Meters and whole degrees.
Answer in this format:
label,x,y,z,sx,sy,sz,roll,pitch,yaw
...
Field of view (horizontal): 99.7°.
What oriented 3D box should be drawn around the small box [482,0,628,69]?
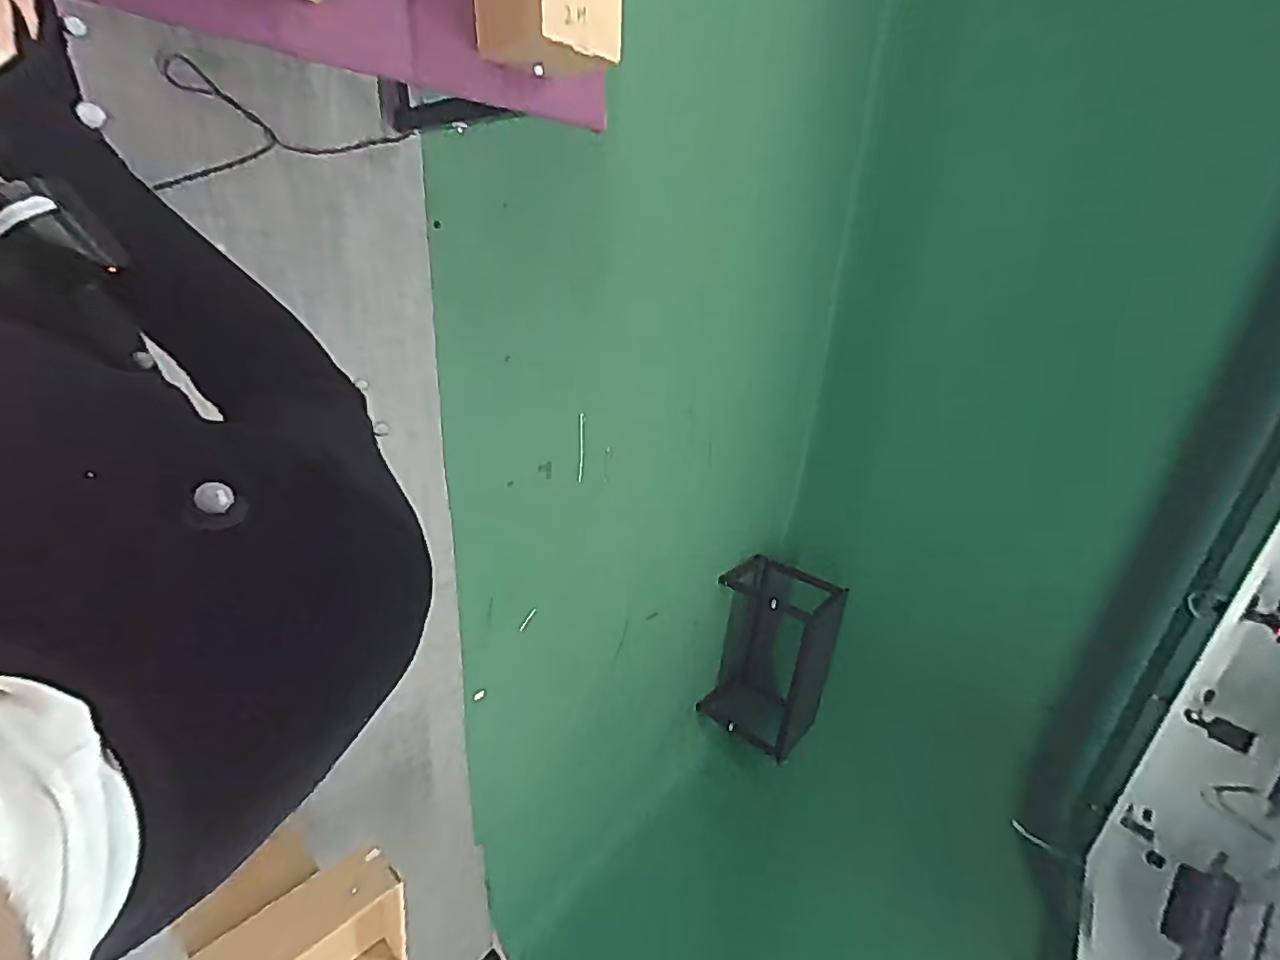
label,x,y,z,sx,sy,sz,roll,pitch,yaw
small box,-0.134,-0.773,0.838,0.168,0.176,0.179,-22,125,-43
